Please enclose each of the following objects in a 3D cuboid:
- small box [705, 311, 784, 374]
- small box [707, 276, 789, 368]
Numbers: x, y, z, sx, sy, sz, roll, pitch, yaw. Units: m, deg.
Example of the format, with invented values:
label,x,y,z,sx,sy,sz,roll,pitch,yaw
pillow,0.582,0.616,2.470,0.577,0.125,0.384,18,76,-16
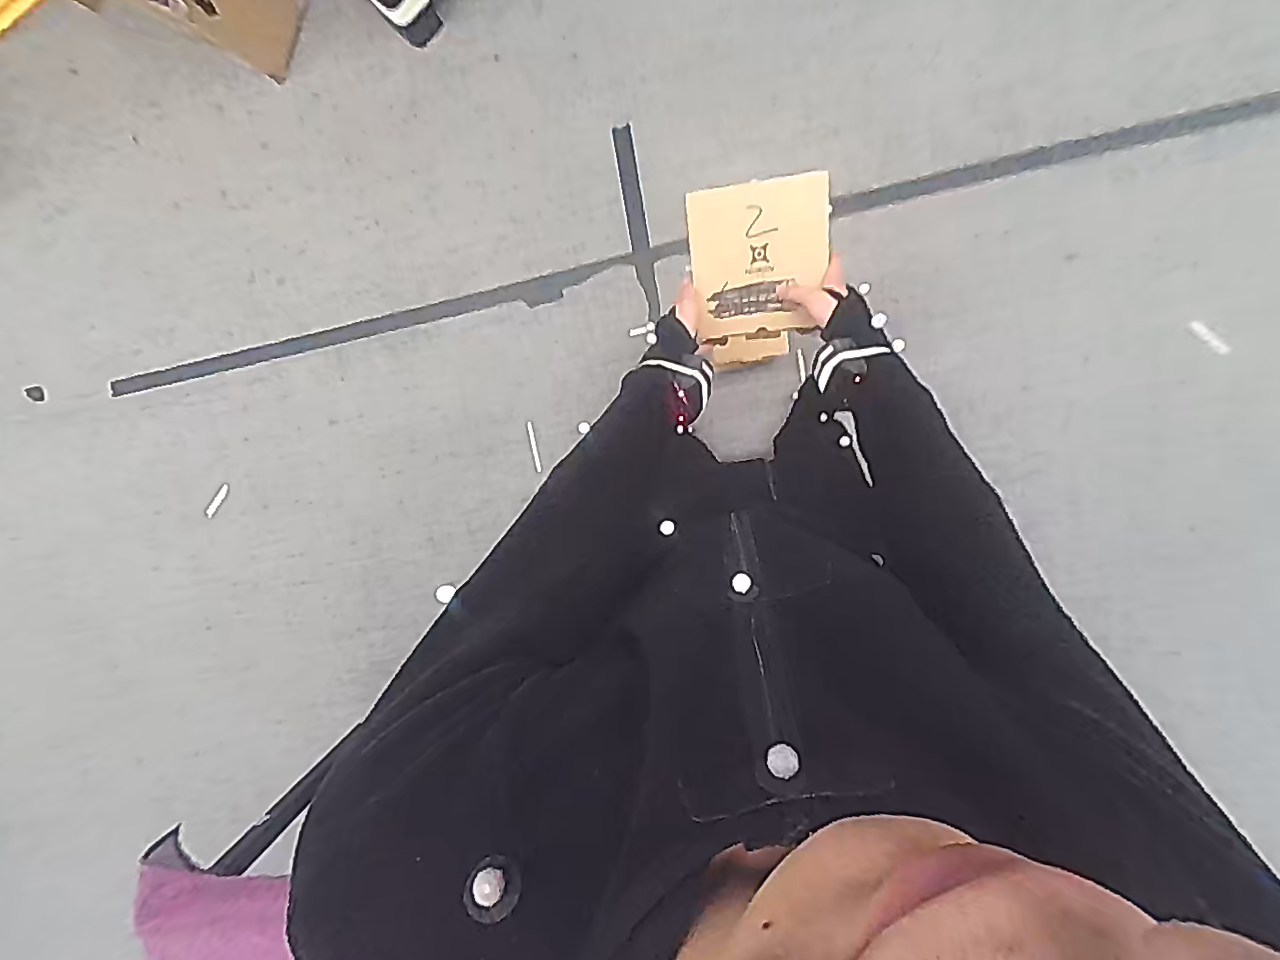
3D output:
label,x,y,z,sx,sy,sz,roll,pitch,yaw
small box,0.272,-0.379,1.432,0.179,0.176,0.168,-11,98,8
small box,0.248,-0.363,1.271,0.168,0.176,0.179,-6,100,7
